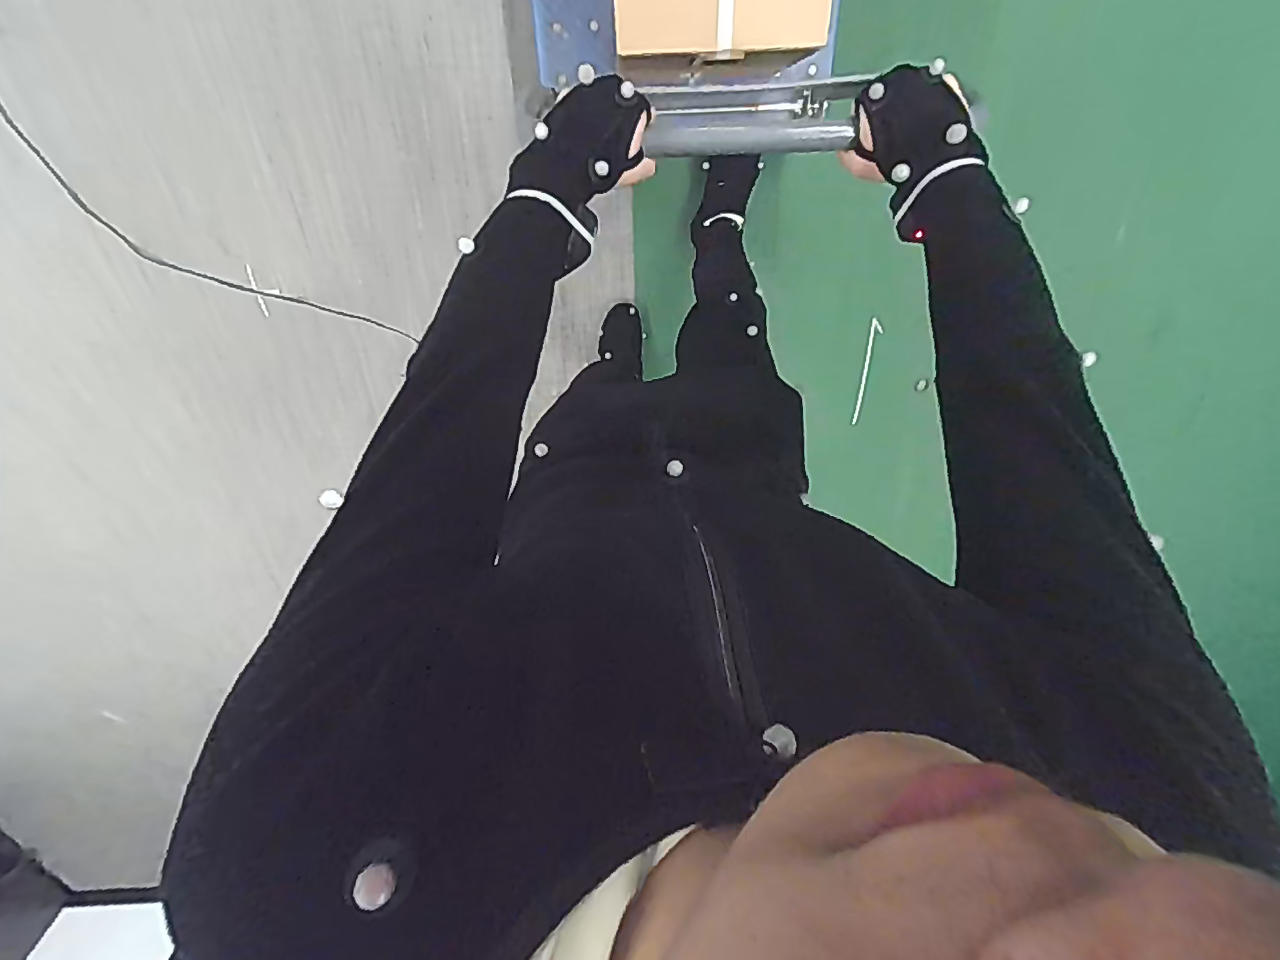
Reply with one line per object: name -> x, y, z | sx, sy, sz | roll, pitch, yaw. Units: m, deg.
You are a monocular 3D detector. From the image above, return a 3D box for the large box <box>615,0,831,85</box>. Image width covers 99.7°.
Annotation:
large box -> 0.110, -0.883, 0.833 | 0.320, 0.320, 0.408 | -3, 120, 0
